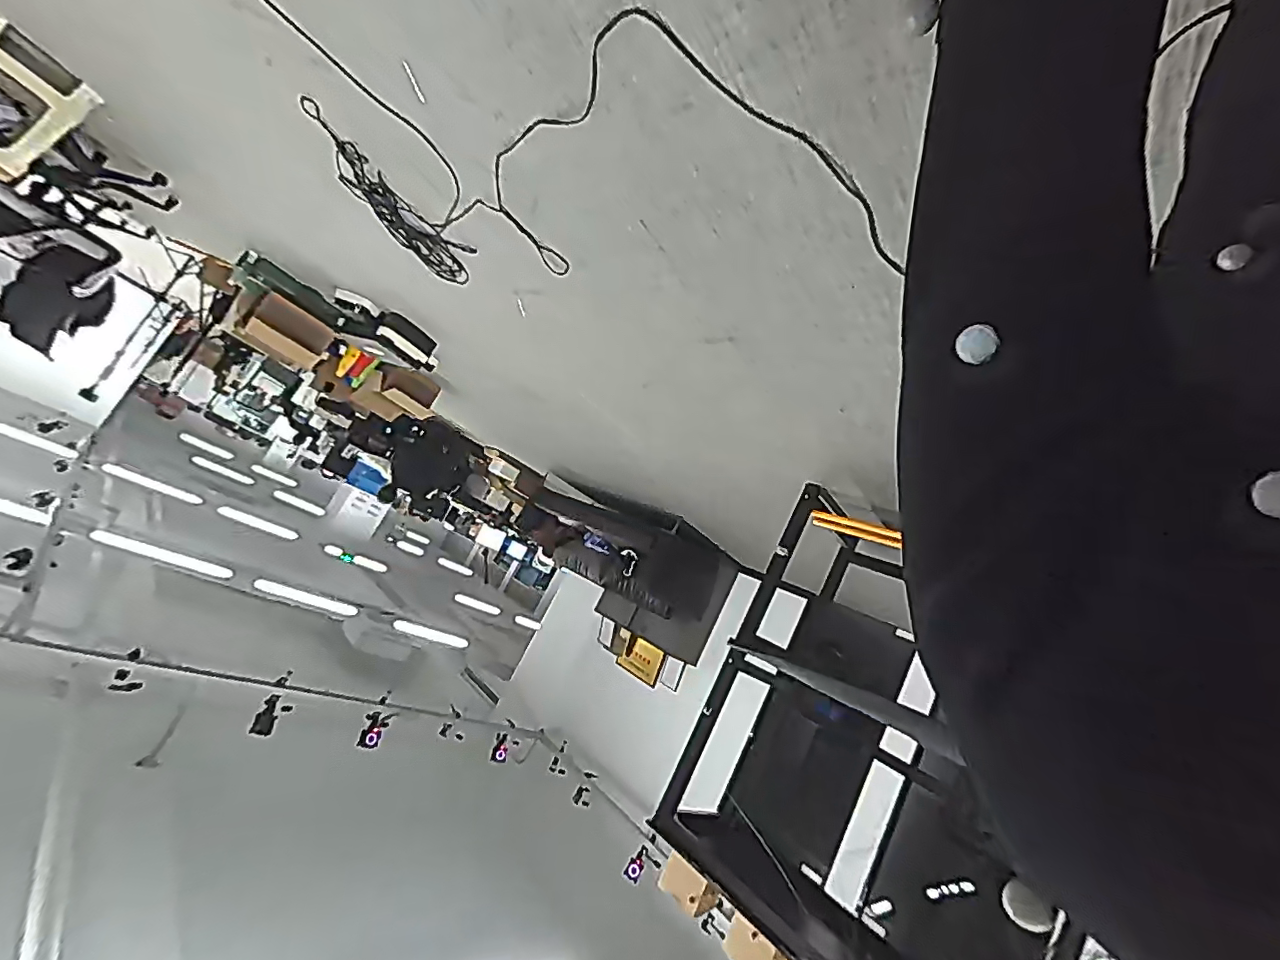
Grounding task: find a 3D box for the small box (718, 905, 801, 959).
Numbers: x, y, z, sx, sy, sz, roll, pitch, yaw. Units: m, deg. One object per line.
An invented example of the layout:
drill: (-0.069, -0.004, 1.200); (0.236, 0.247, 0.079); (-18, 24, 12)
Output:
small box: (0.393, 1.524, 1.755); (0.179, 0.176, 0.168); (37, 166, -38)
